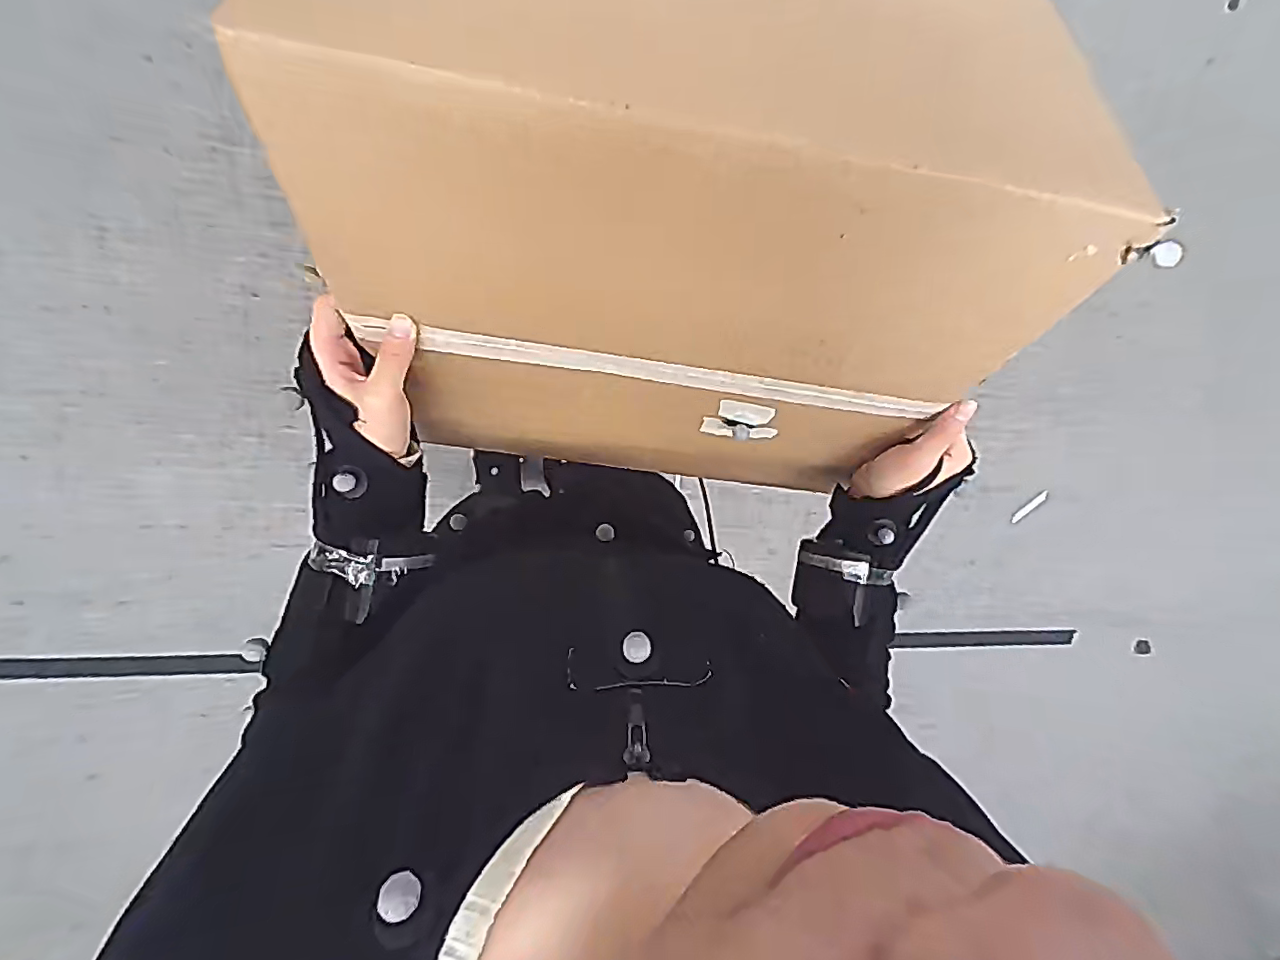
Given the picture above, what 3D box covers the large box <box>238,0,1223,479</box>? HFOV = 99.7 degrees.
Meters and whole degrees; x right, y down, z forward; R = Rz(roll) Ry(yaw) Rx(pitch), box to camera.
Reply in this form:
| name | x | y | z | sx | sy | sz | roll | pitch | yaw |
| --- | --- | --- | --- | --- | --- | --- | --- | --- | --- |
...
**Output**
| name | x | y | z | sx | sy | sz | roll | pitch | yaw |
| --- | --- | --- | --- | --- | --- | --- | --- | --- | --- |
| large box | 0.036 | -0.221 | 0.405 | 0.408 | 0.320 | 0.320 | 7 | 65 | -7 |
